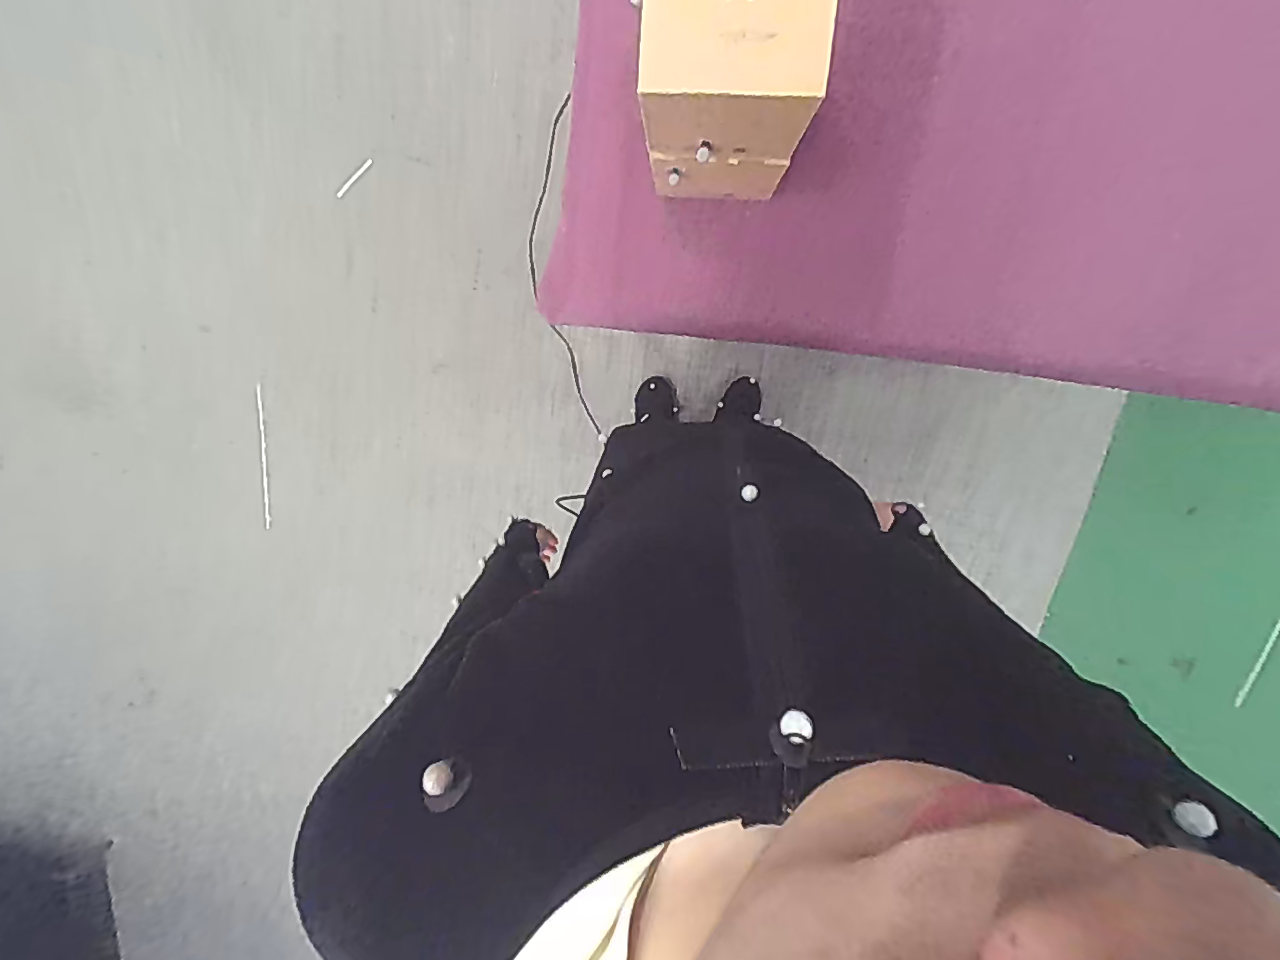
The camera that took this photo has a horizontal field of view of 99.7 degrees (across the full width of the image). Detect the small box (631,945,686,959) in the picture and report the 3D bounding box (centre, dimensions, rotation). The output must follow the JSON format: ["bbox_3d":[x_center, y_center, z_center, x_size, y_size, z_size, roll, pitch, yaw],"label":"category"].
[{"bbox_3d":[0.046,1.446,1.498,0.168,0.176,0.179,8,106,2],"label":"small box"}]

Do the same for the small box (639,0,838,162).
[{"bbox_3d":[0.091,-0.440,0.530,0.168,0.176,0.179,5,104,4],"label":"small box"}]
